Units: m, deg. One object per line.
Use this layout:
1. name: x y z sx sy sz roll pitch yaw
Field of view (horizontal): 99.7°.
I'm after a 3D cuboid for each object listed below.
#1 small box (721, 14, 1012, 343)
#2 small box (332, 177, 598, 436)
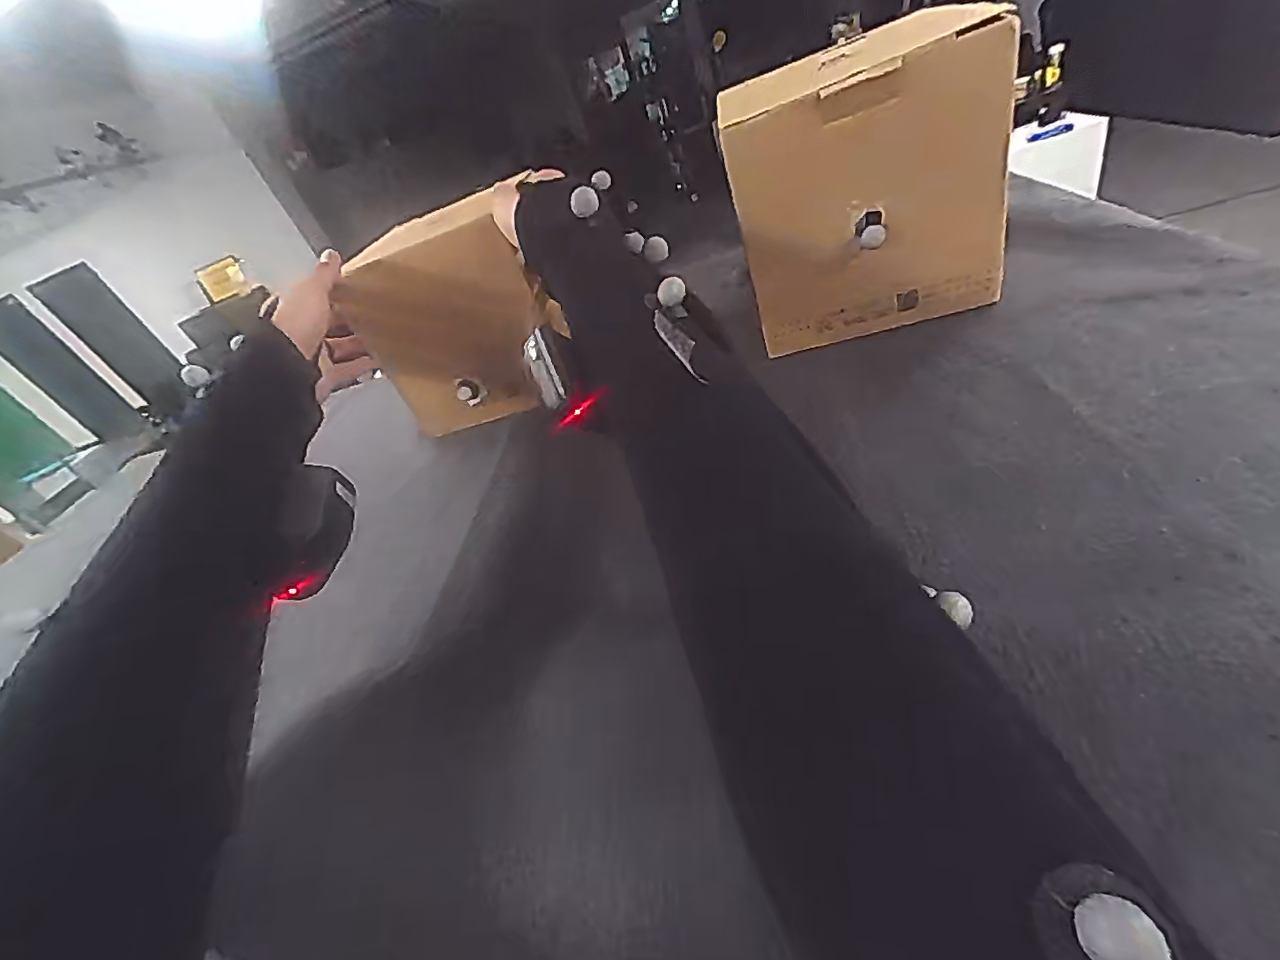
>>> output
1. small box: 0.163 -0.224 0.425 0.168 0.176 0.179 -10 40 17
2. small box: -0.150 -0.171 0.538 0.168 0.176 0.179 -15 37 13
